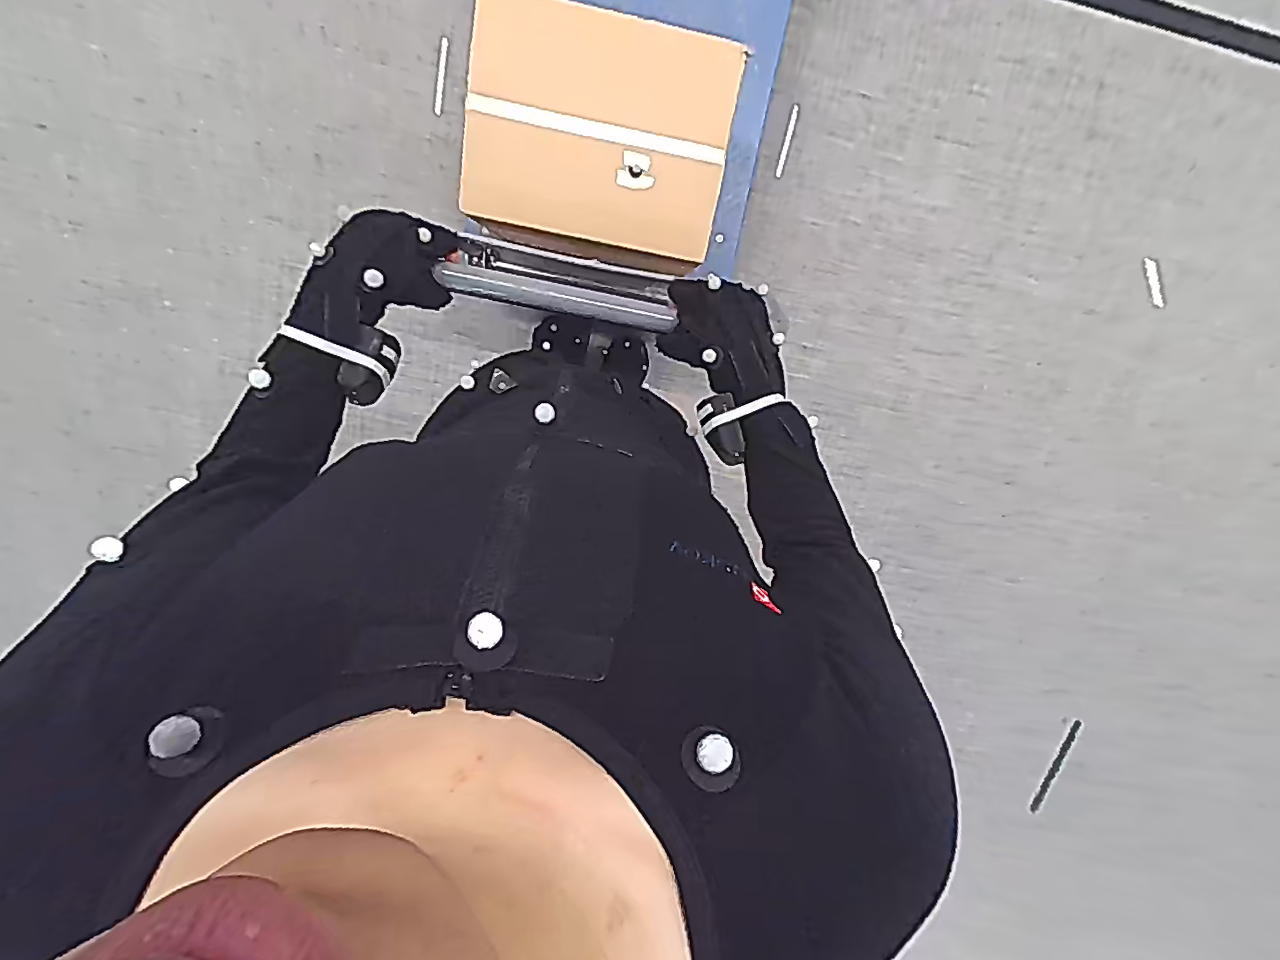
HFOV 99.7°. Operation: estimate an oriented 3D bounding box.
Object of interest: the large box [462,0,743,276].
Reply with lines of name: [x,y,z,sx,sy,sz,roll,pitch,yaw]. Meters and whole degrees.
large box: [-0.073,-0.574,0.974,0.408,0.320,0.320,9,107,-6]
